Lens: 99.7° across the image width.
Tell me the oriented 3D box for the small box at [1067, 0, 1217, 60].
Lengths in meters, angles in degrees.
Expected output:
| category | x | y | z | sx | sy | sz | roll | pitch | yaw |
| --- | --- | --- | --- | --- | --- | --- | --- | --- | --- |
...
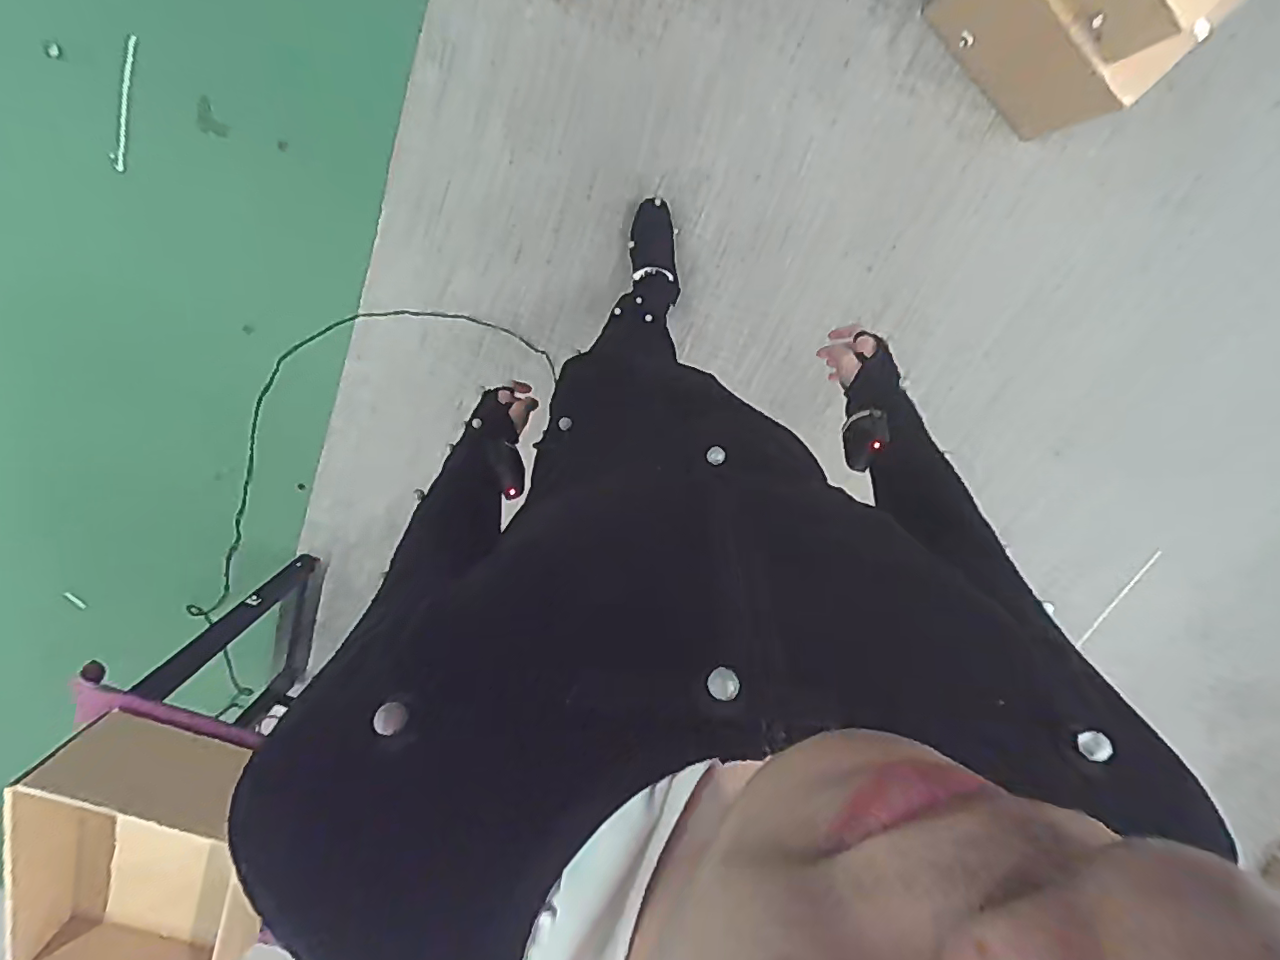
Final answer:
| category | x | y | z | sx | sy | sz | roll | pitch | yaw |
| --- | --- | --- | --- | --- | --- | --- | --- | --- | --- |
| small box | 0.873 | -0.858 | 0.894 | 0.168 | 0.176 | 0.179 | 43 | 108 | -13 |
